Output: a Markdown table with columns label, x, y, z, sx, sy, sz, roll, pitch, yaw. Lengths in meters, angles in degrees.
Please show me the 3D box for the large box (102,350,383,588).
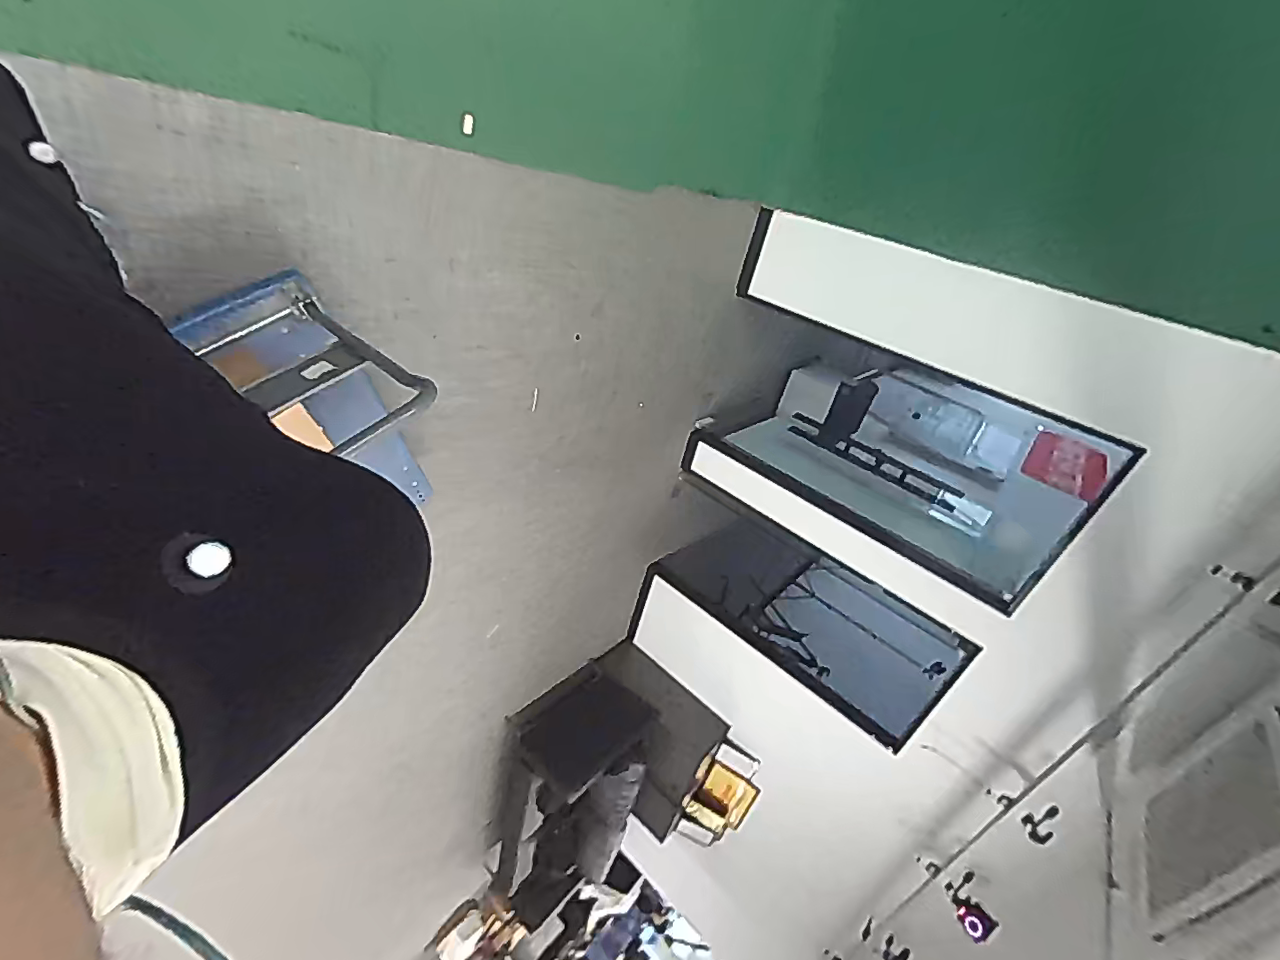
| label | x | y | z | sx | sy | sz | roll | pitch | yaw |
| --- | --- | --- | --- | --- | --- | --- | --- | --- | --- |
| large box | -0.909 | -0.023 | 1.282 | 0.320 | 0.320 | 0.408 | -43 | 149 | -24 |
